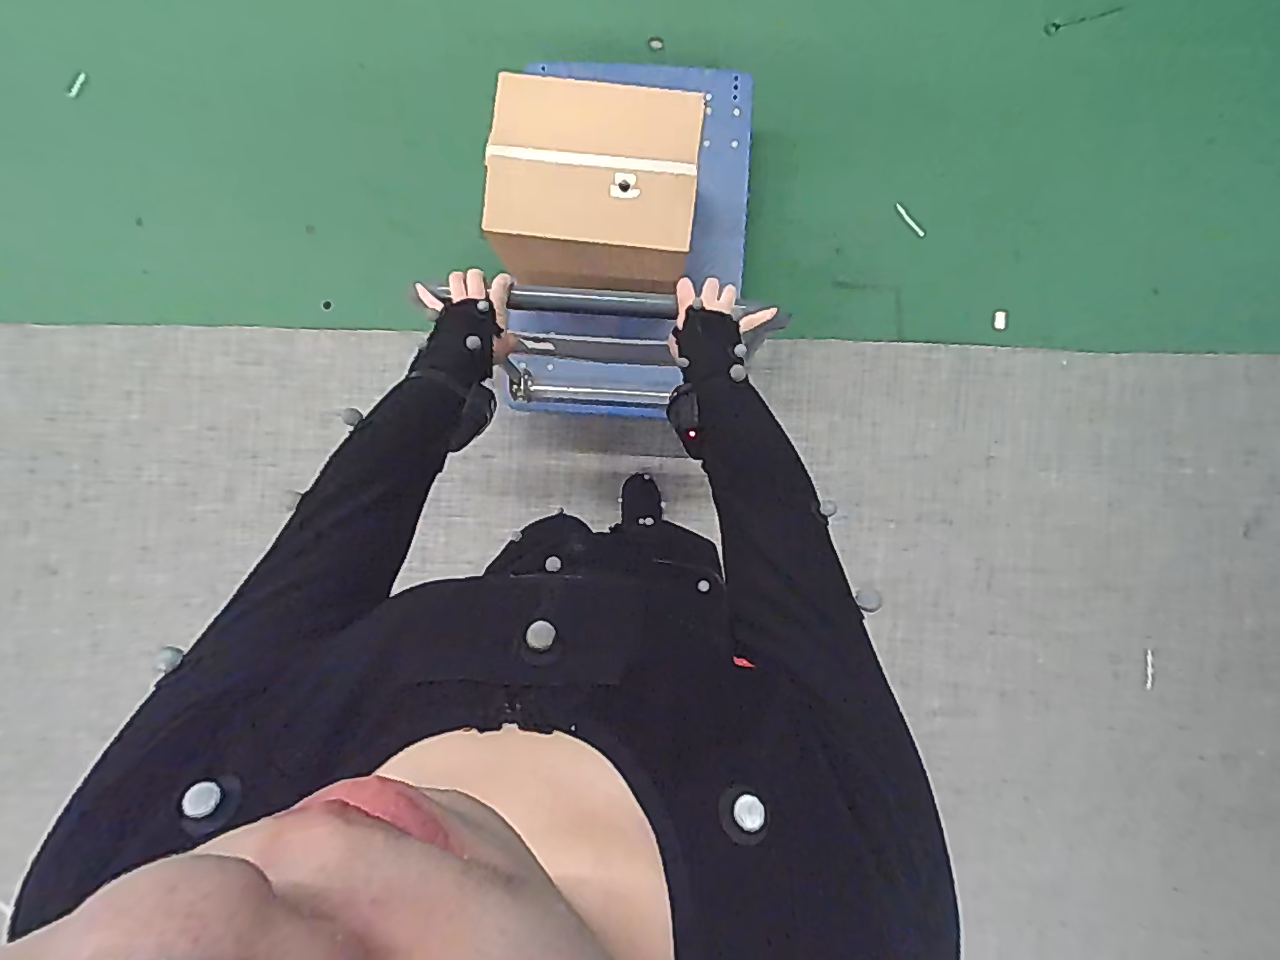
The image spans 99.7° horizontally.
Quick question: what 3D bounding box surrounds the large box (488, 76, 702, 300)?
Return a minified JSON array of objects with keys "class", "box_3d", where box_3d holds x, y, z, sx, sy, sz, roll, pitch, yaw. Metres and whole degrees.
[{"class":"large box","box_3d":[-0.091,-0.621,1.206,0.408,0.320,0.320,6,89,-1]}]
